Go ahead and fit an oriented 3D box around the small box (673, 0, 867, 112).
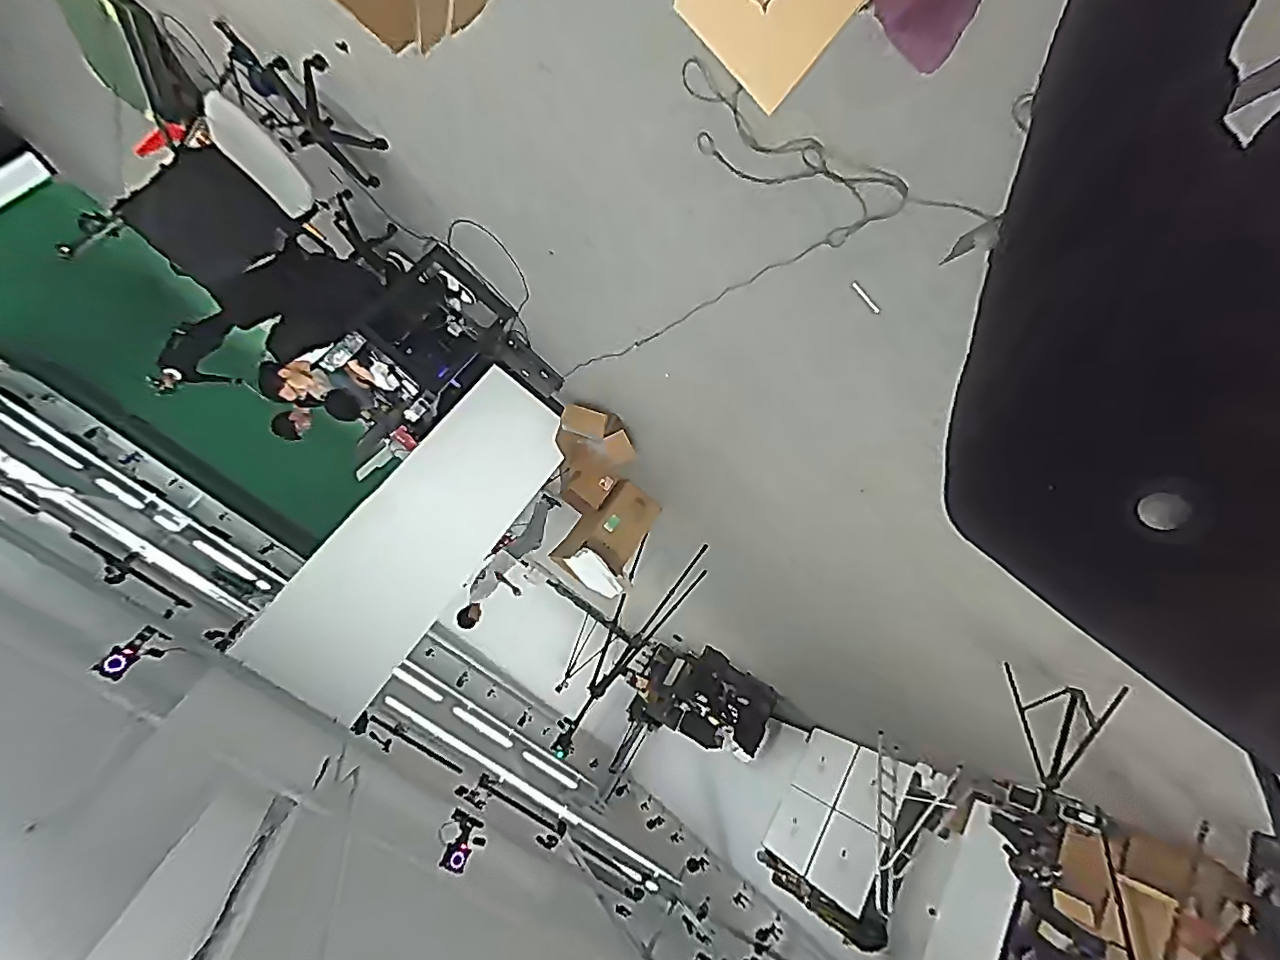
[{"bbox_3d":[0.173,-0.568,0.589,0.168,0.176,0.179,40,158,-13],"label":"small box"}]
